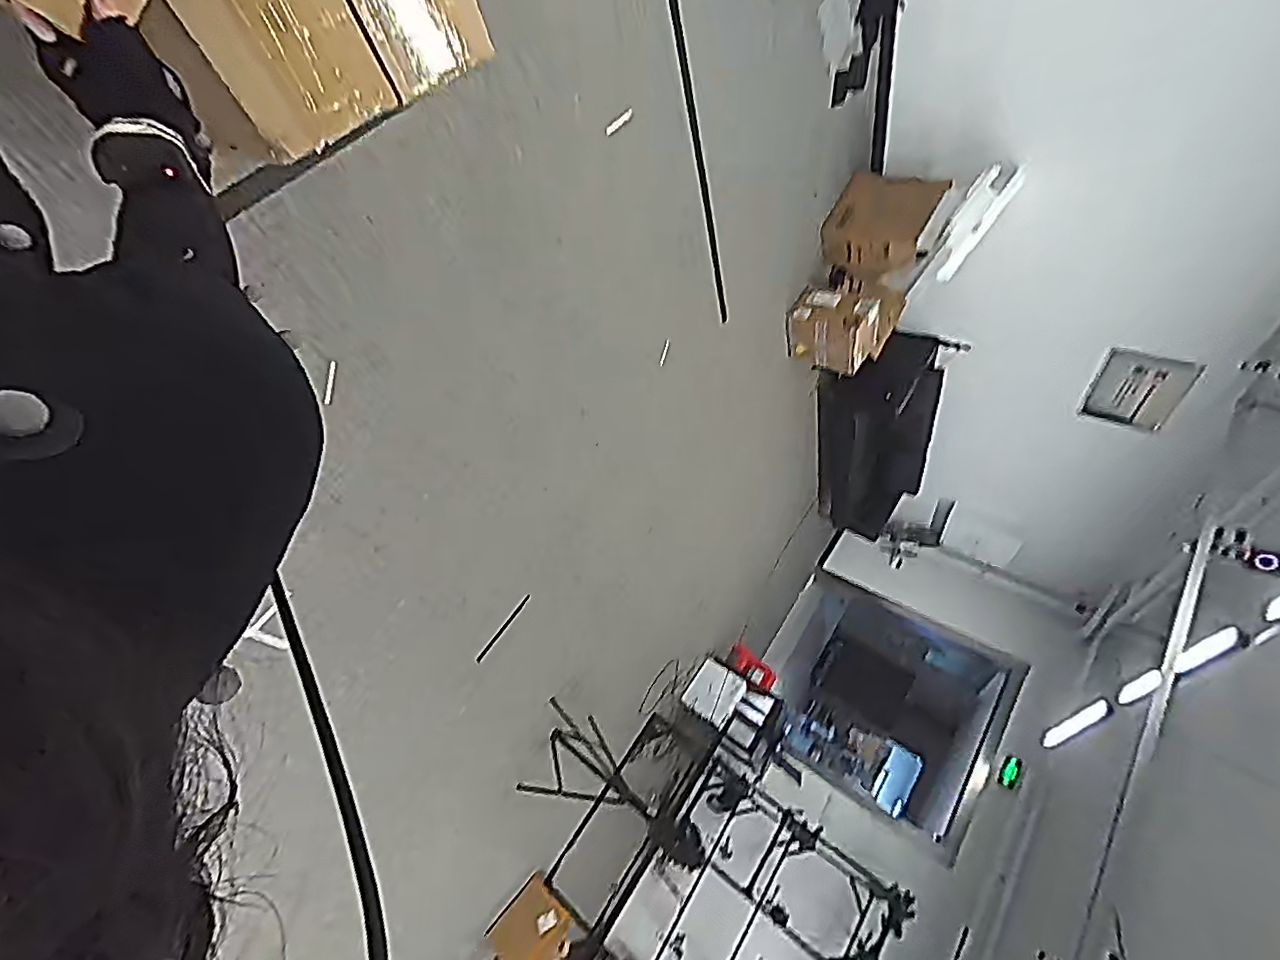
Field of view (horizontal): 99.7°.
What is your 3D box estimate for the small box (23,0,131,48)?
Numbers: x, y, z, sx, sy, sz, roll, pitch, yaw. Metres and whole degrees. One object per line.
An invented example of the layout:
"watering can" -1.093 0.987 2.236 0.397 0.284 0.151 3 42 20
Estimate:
"small box" -0.461 -0.455 0.355 0.176 0.179 0.168 33 97 -23
